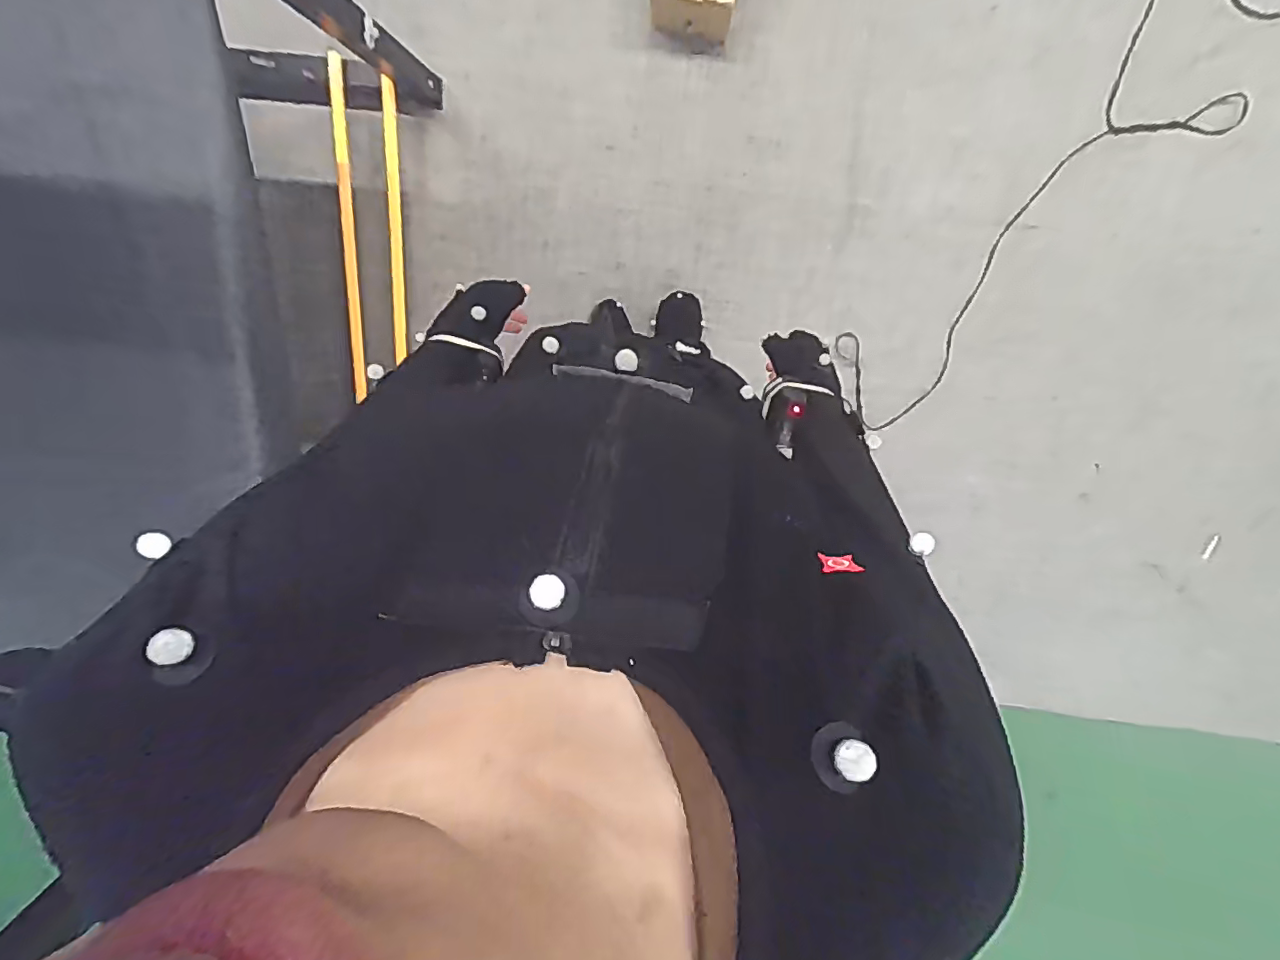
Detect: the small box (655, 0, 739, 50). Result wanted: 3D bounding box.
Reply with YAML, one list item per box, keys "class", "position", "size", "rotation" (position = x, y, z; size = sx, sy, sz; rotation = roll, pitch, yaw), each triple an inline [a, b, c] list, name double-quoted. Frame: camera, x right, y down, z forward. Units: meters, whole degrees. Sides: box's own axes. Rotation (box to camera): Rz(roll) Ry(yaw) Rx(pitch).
- class: "small box"
  position: [0.123, -1.012, 1.079]
  size: [0.168, 0.176, 0.179]
  rotation: [13, 110, 0]
